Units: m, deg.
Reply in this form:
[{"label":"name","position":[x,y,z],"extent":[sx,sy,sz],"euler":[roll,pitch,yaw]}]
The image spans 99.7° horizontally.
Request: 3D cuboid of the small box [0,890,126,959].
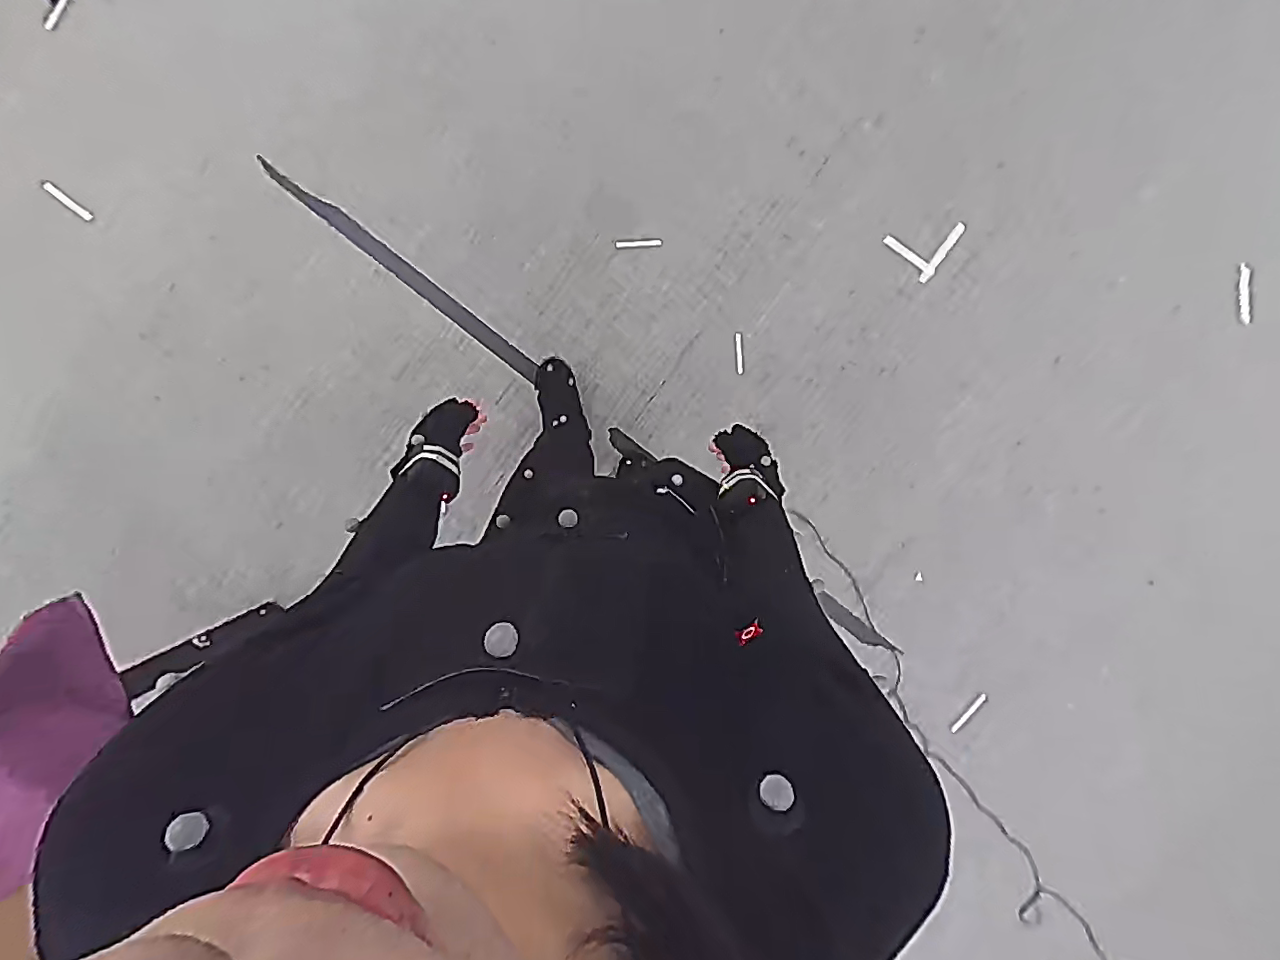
[{"label":"small box","position":[-0.937,0.759,0.794],"extent":[0.179,0.176,0.168],"euler":[31,96,-2]}]
